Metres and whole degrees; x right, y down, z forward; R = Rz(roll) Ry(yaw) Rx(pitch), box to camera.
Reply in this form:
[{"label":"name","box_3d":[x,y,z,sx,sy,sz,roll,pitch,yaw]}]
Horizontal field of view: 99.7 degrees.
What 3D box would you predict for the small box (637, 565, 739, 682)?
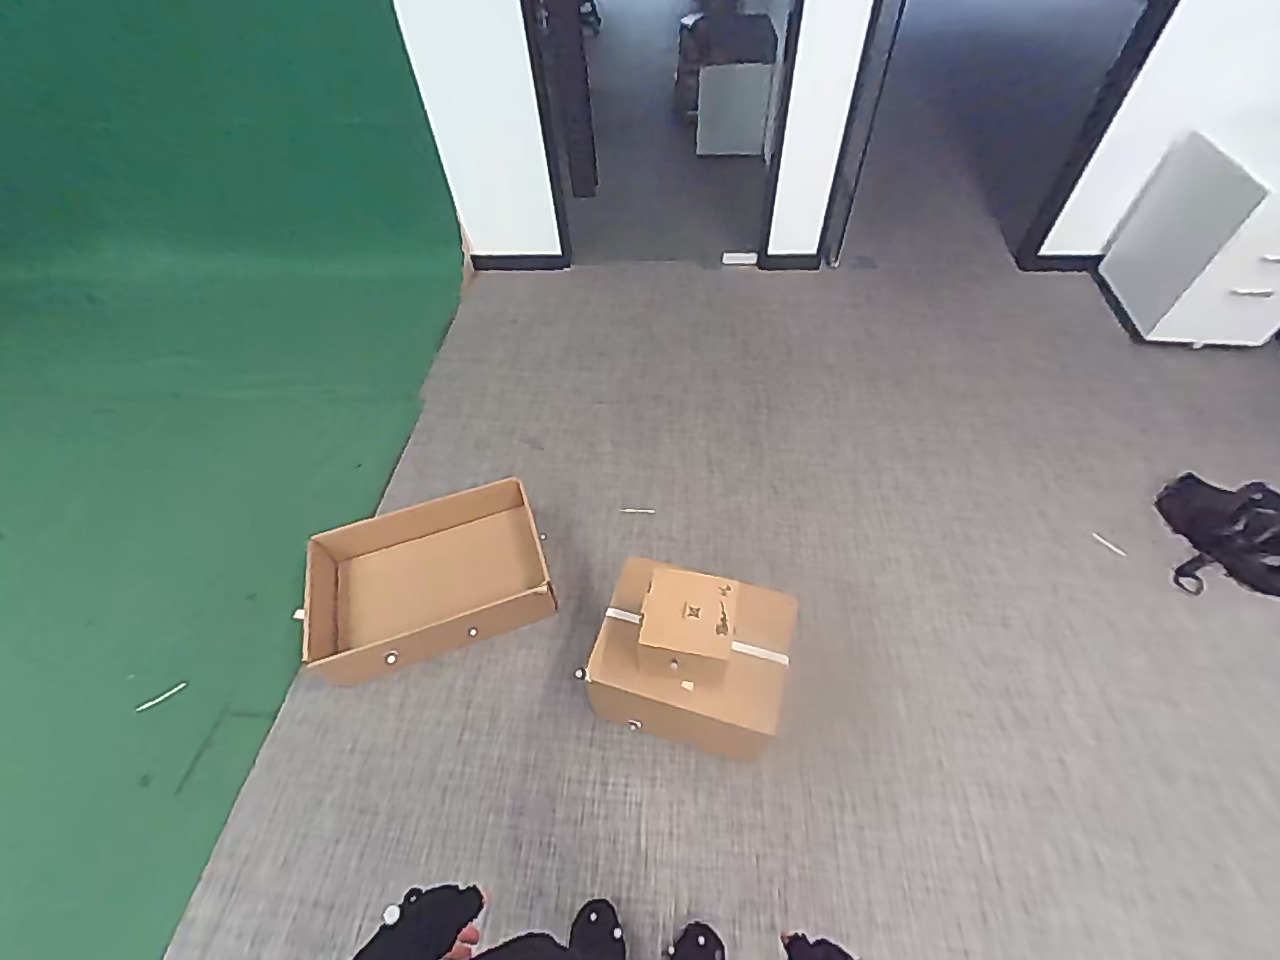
[{"label":"small box","box_3d":[0.100,0.296,1.103,0.179,0.176,0.168,7,54,10]}]
